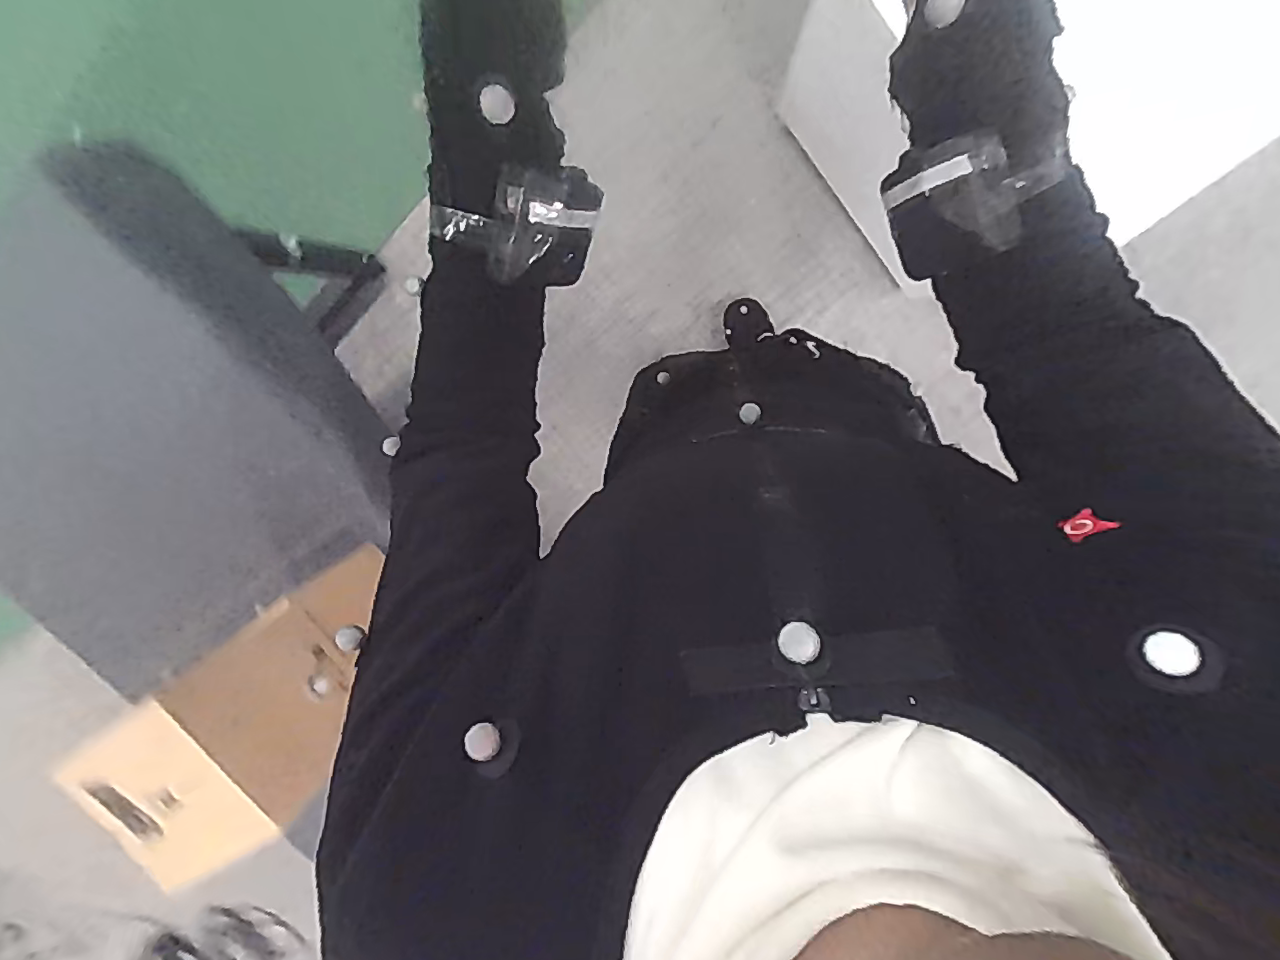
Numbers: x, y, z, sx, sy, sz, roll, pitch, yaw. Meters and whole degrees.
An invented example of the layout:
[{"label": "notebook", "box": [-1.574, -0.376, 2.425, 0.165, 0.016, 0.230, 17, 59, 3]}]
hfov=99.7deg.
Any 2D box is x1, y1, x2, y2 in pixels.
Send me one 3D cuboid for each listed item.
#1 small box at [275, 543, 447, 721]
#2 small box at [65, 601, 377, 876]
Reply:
[{"label": "small box", "box": [-0.402, 0.217, 0.737, 0.168, 0.176, 0.179, -36, 99, 17]}, {"label": "small box", "box": [-0.430, 0.266, 0.582, 0.179, 0.176, 0.168, -36, 98, 19]}]
